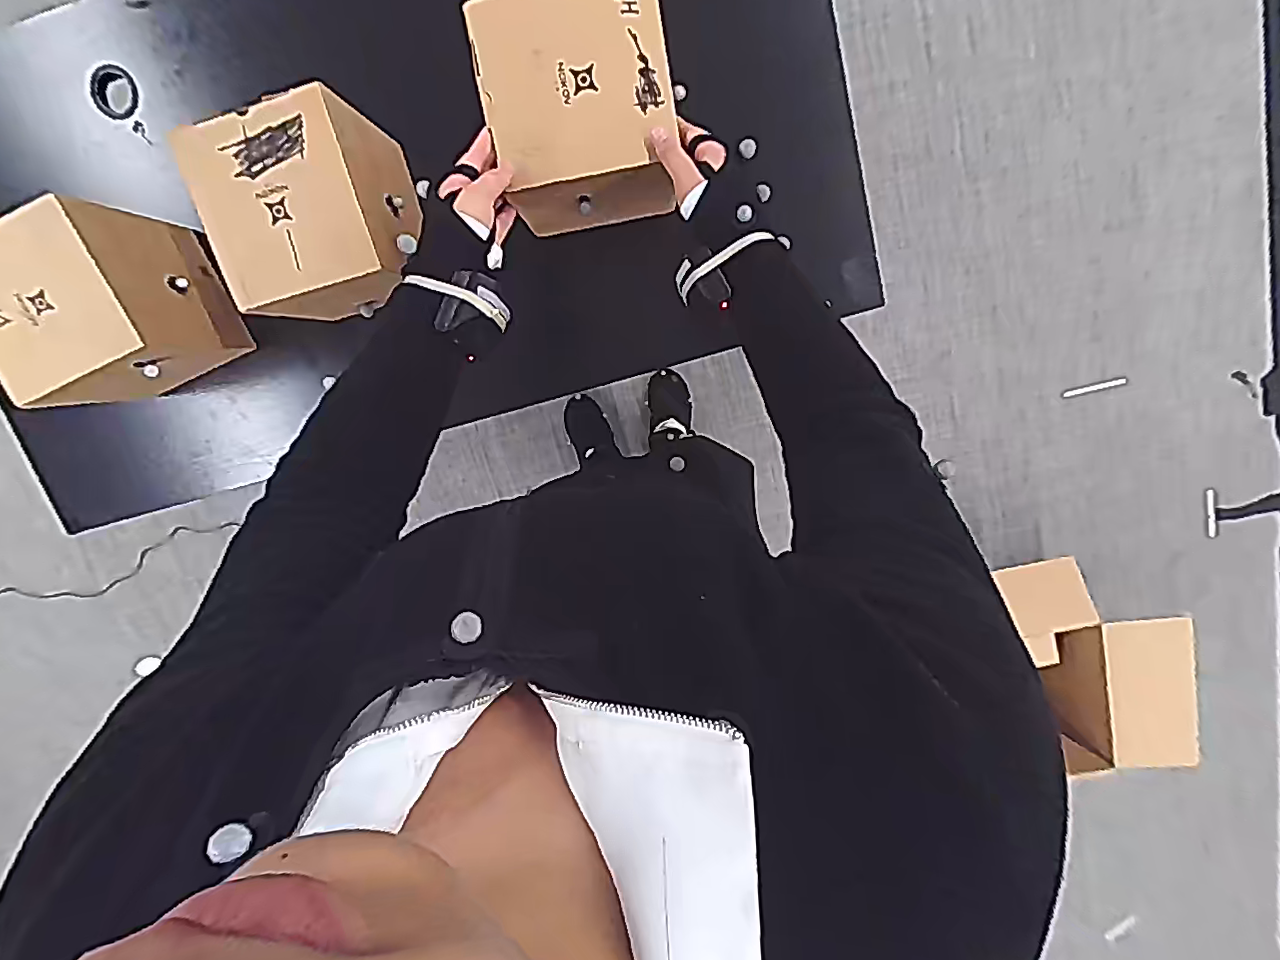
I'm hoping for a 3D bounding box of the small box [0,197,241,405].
[{"bbox_3d":[-0.632,-0.205,0.650,0.179,0.176,0.168,-22,101,7],"label":"small box"}]

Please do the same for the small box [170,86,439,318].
[{"bbox_3d":[-0.359,-0.295,0.618,0.168,0.176,0.179,-14,103,6],"label":"small box"}]

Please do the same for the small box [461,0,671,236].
[{"bbox_3d":[-0.063,-0.377,0.577,0.179,0.176,0.168,-9,100,3],"label":"small box"}]
